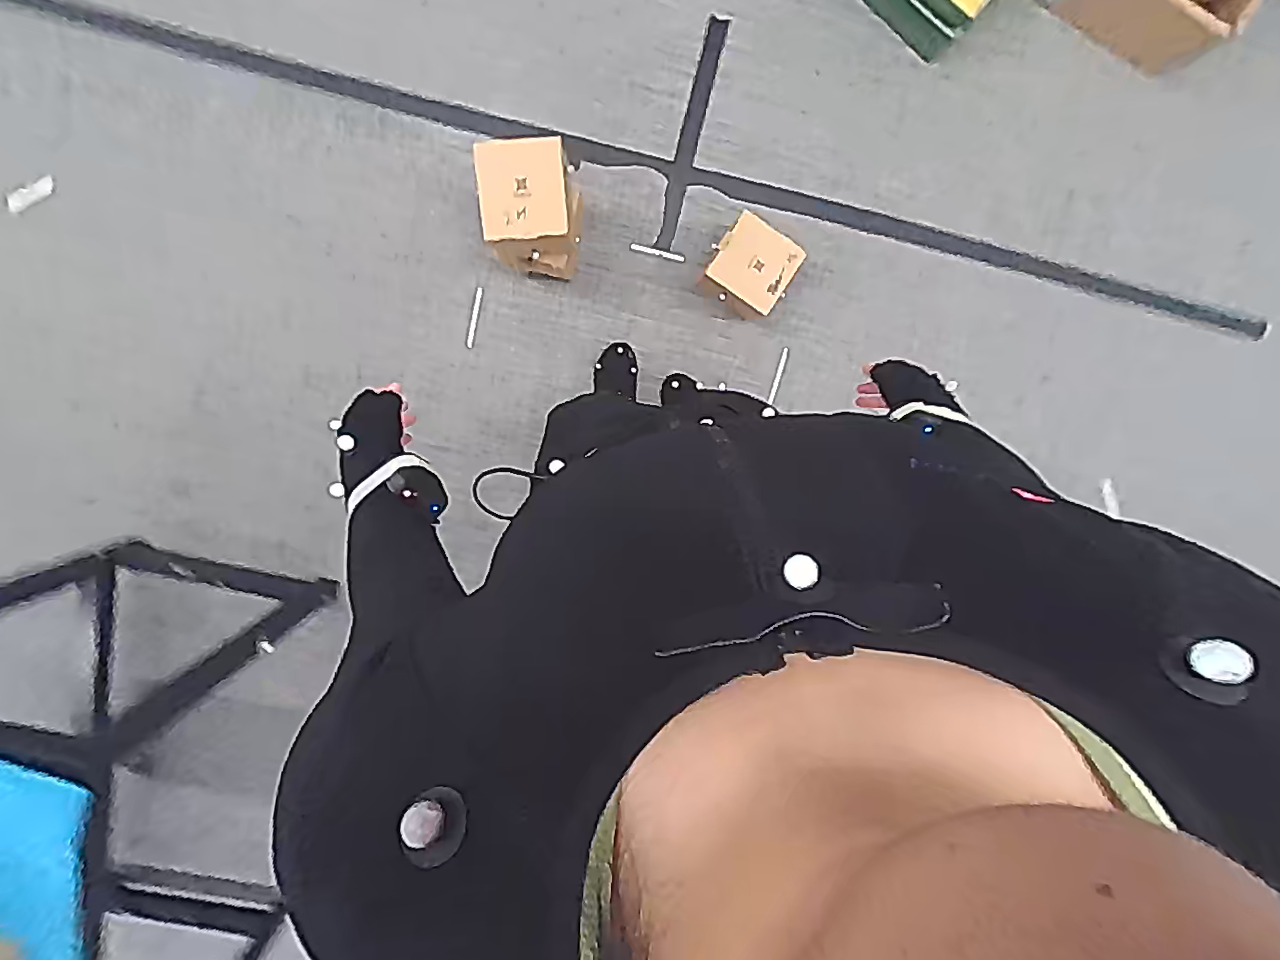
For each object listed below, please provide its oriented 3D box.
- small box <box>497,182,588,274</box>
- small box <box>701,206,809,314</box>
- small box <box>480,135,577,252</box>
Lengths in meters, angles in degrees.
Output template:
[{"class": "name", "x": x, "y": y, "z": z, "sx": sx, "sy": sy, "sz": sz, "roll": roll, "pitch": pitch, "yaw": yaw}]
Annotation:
[{"class": "small box", "x": -0.222, "y": -0.600, "z": 1.270, "sx": 0.168, "sy": 0.176, "sz": 0.179, "roll": 13, "pitch": 101, "yaw": -3}, {"class": "small box", "x": 0.264, "y": -0.515, "z": 1.299, "sx": 0.179, "sy": 0.176, "sz": 0.168, "roll": 30, "pitch": 99, "yaw": -8}, {"class": "small box", "x": -0.221, "y": -0.577, "z": 1.107, "sx": 0.168, "sy": 0.176, "sz": 0.179, "roll": 0, "pitch": 104, "yaw": 0}]
